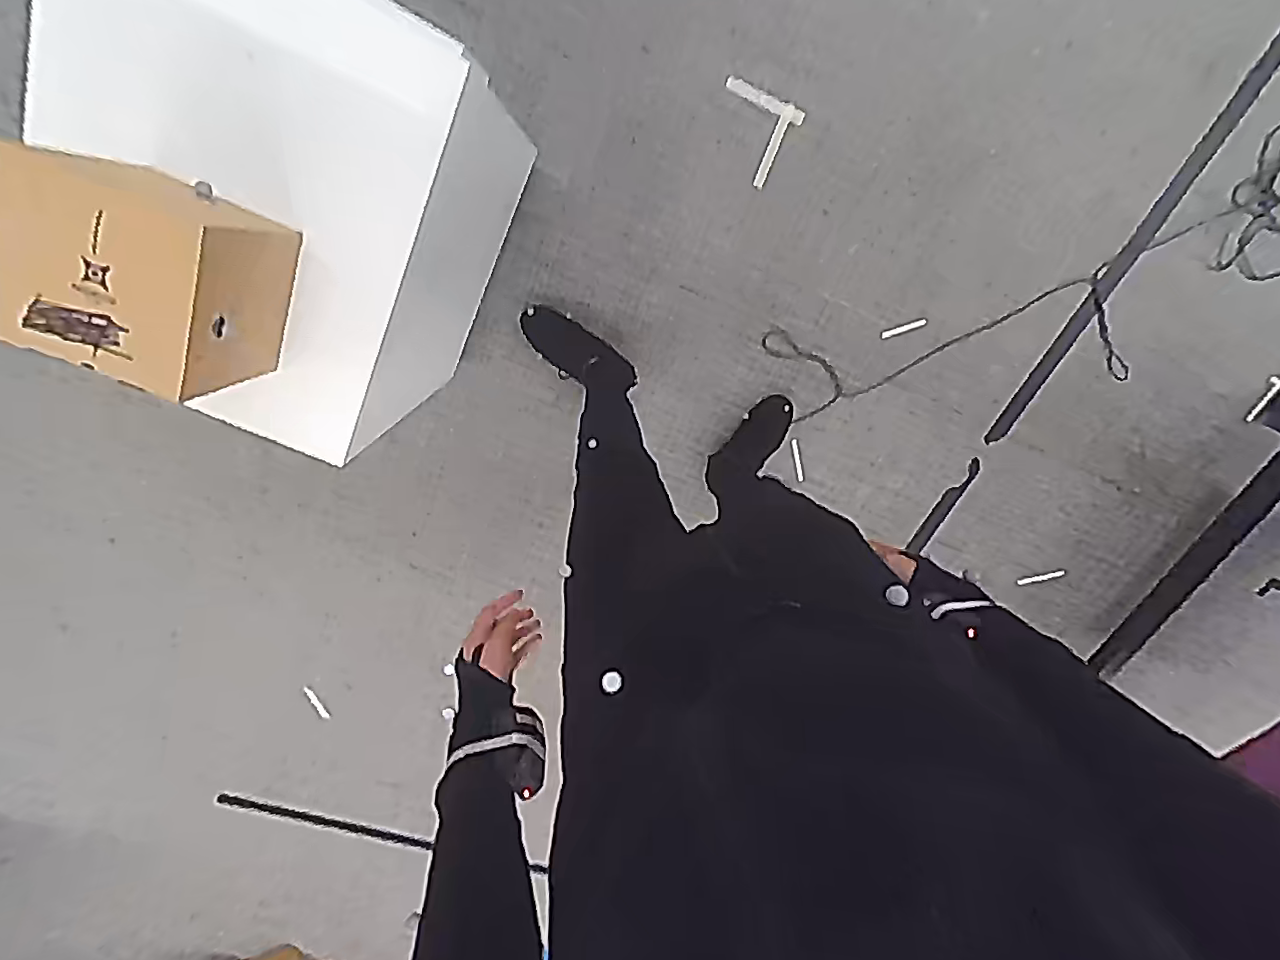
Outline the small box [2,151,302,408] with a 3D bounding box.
[{"bbox_3d":[-0.490,-0.202,0.567,0.168,0.176,0.179,21,109,-12],"label":"small box"}]
